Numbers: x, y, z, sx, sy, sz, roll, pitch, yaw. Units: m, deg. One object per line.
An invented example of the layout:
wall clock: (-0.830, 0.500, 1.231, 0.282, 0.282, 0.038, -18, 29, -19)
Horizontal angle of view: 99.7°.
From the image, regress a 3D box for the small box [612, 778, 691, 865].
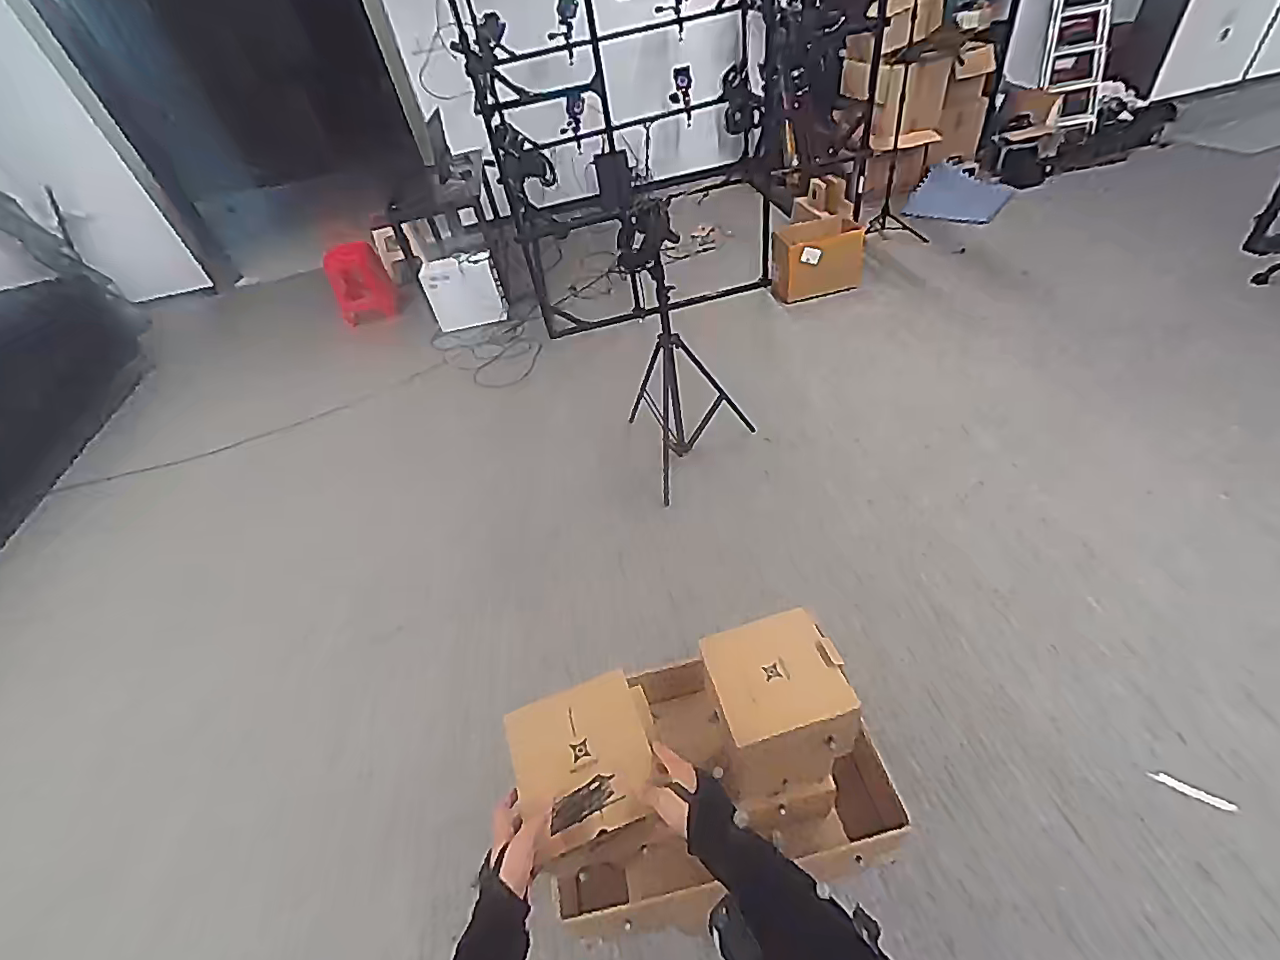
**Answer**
small box: (-0.012, 0.601, 1.044, 0.168, 0.176, 0.179, -20, 44, -7)

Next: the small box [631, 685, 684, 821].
small box: (-0.034, 0.491, 0.924, 0.168, 0.176, 0.179, -20, 45, -7)

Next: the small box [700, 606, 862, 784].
small box: (0.201, 0.321, 0.805, 0.179, 0.176, 0.168, -17, 43, -2)

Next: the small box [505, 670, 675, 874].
small box: (-0.060, 0.385, 0.706, 0.168, 0.176, 0.179, -19, 50, -9)
